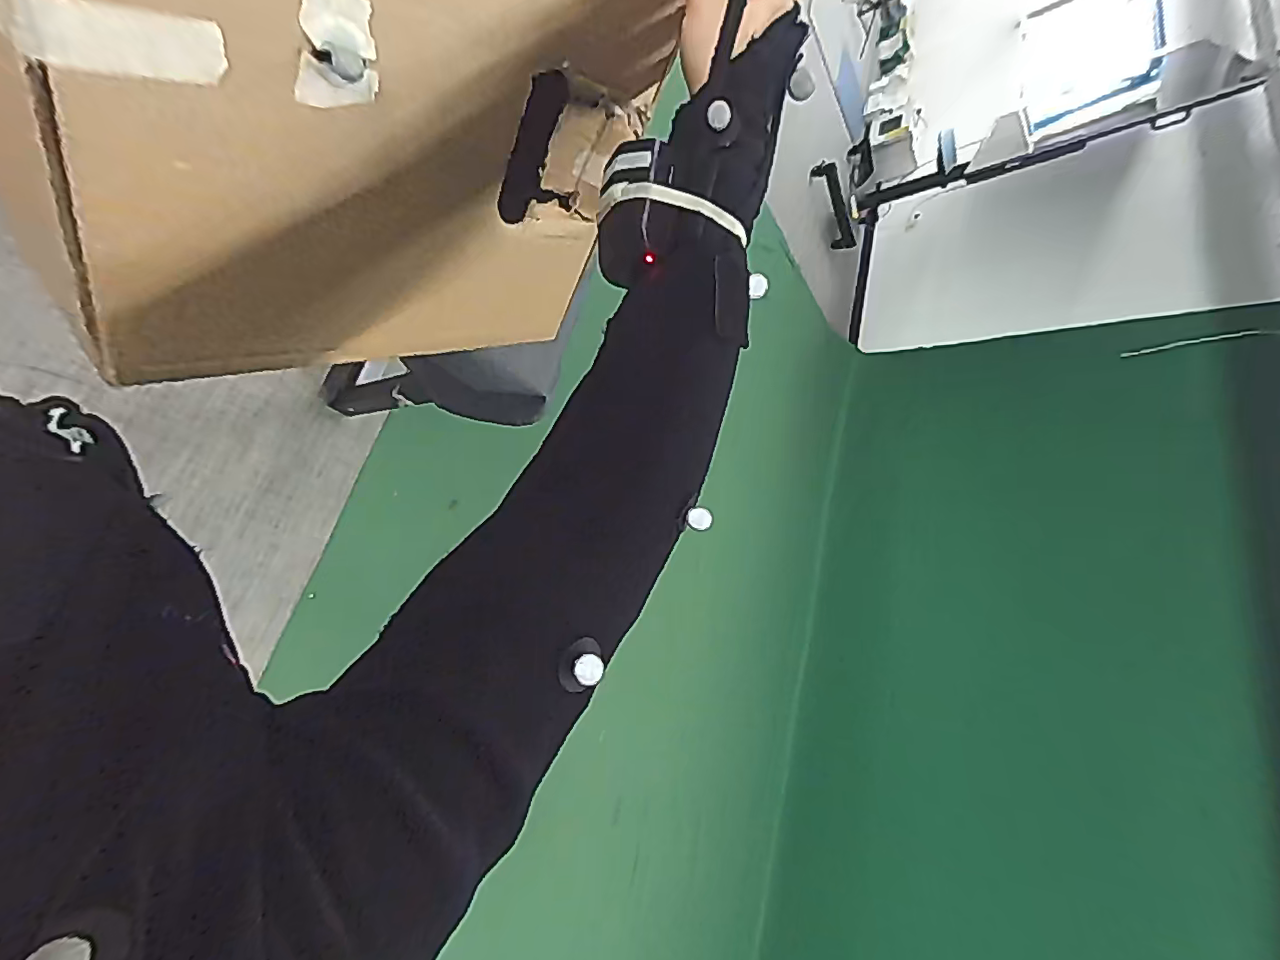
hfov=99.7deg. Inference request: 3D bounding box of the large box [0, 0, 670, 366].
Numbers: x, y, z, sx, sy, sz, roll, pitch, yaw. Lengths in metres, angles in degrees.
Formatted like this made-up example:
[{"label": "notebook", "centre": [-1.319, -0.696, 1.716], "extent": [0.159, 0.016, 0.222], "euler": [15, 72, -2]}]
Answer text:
[{"label": "large box", "centre": [-0.243, -0.335, 0.344], "extent": [0.408, 0.320, 0.320], "euler": [45, 39, 14]}]
